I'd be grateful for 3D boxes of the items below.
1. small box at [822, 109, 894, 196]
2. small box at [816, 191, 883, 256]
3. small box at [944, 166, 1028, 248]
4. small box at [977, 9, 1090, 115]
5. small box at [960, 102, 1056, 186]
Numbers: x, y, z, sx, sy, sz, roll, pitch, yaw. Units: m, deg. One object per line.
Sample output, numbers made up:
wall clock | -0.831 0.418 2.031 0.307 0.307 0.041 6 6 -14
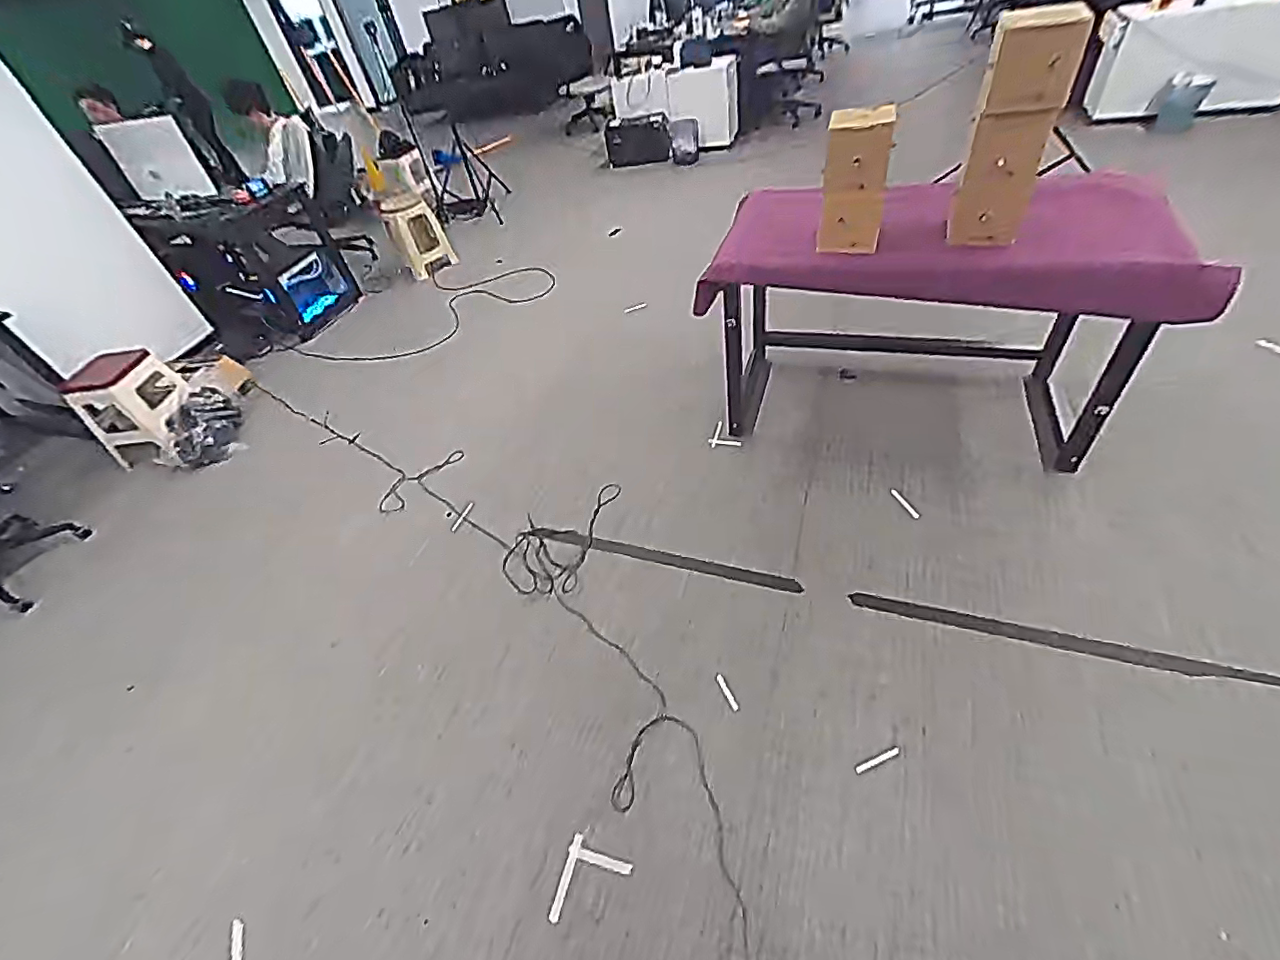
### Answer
small box | 0.603 -0.905 1.504 0.168 0.176 0.179 8 48 18
small box | 0.627 -0.786 1.614 0.168 0.176 0.179 9 48 20
small box | 0.970 -0.771 1.525 0.168 0.176 0.179 11 49 21
small box | 0.920 -0.982 1.281 0.168 0.176 0.179 9 48 19
small box | 0.950 -0.886 1.410 0.168 0.176 0.179 10 50 21
